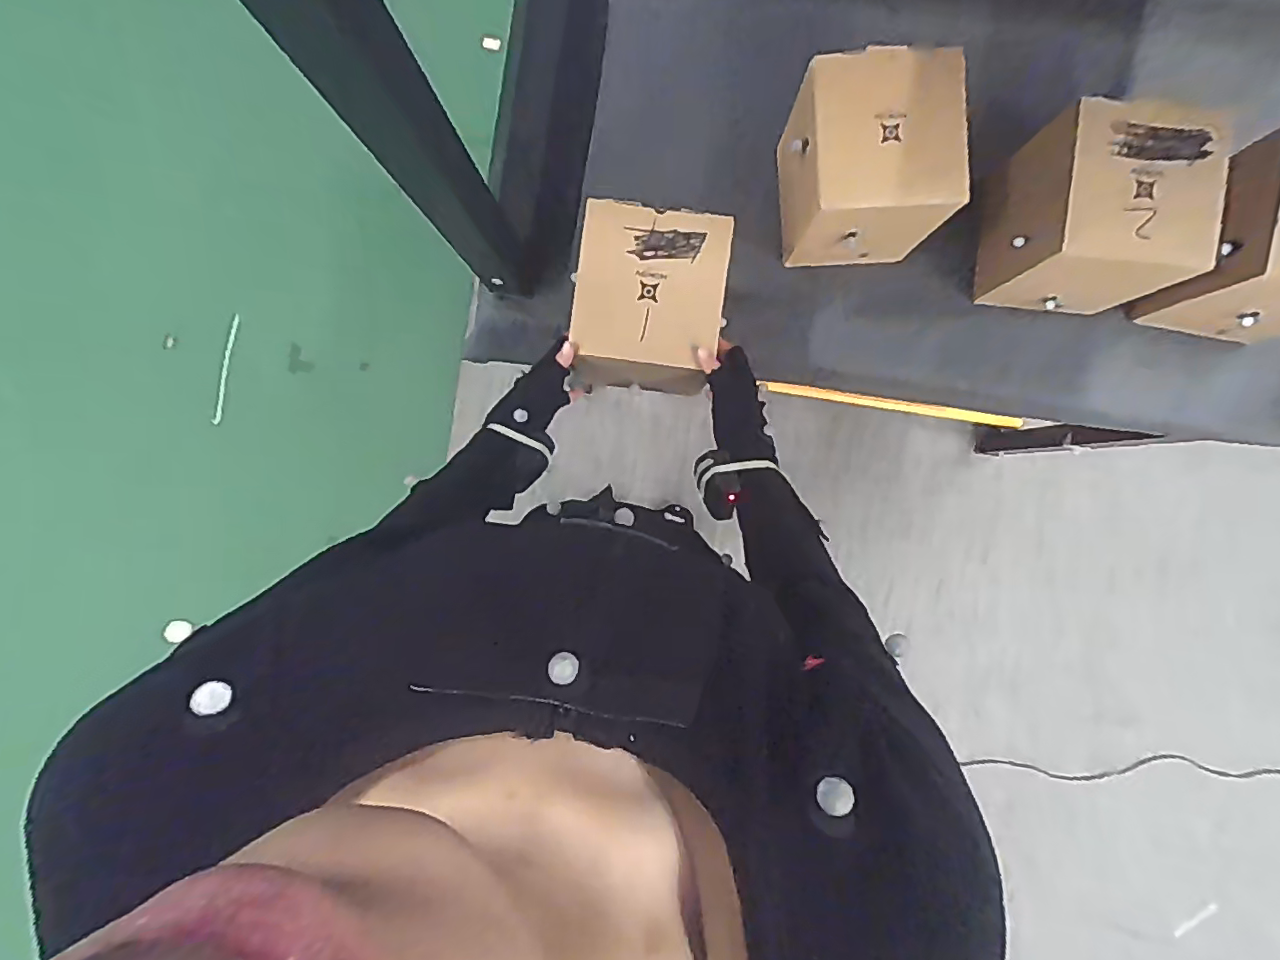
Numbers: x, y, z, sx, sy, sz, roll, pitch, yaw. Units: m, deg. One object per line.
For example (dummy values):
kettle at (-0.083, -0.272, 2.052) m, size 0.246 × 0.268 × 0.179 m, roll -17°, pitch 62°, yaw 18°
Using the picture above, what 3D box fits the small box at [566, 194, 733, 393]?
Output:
small box at (0.009, -0.218, 0.674) m, size 0.168 × 0.176 × 0.179 m, roll 8°, pitch 89°, yaw 0°

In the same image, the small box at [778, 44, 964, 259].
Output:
small box at (0.274, -0.389, 0.674) m, size 0.168 × 0.176 × 0.179 m, roll -2°, pitch 90°, yaw 1°
